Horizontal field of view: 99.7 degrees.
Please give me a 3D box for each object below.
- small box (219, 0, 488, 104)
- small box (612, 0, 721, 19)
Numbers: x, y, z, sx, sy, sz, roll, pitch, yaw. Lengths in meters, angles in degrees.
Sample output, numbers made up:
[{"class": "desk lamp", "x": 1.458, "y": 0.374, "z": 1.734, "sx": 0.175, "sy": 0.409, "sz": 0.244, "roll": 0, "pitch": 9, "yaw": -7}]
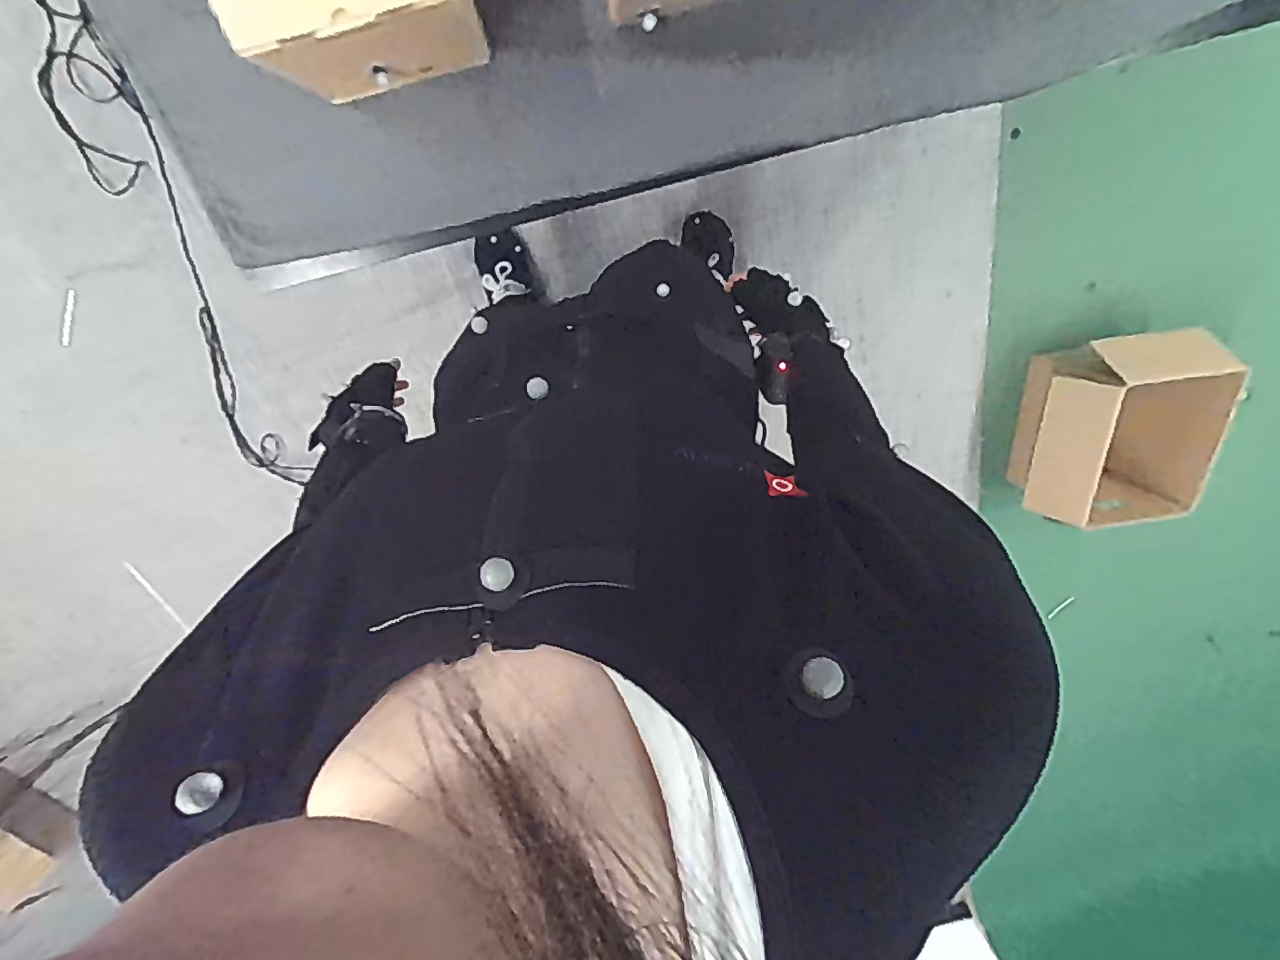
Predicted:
[{"class": "small box", "x": -0.236, "y": -0.433, "z": 0.427, "sx": 0.168, "sy": 0.176, "sz": 0.179, "roll": -15, "pitch": 116, "yaw": 1}, {"class": "small box", "x": 0.044, "y": -0.501, "z": 0.424, "sx": 0.168, "sy": 0.176, "sz": 0.179, "roll": -14, "pitch": 116, "yaw": 1}]
